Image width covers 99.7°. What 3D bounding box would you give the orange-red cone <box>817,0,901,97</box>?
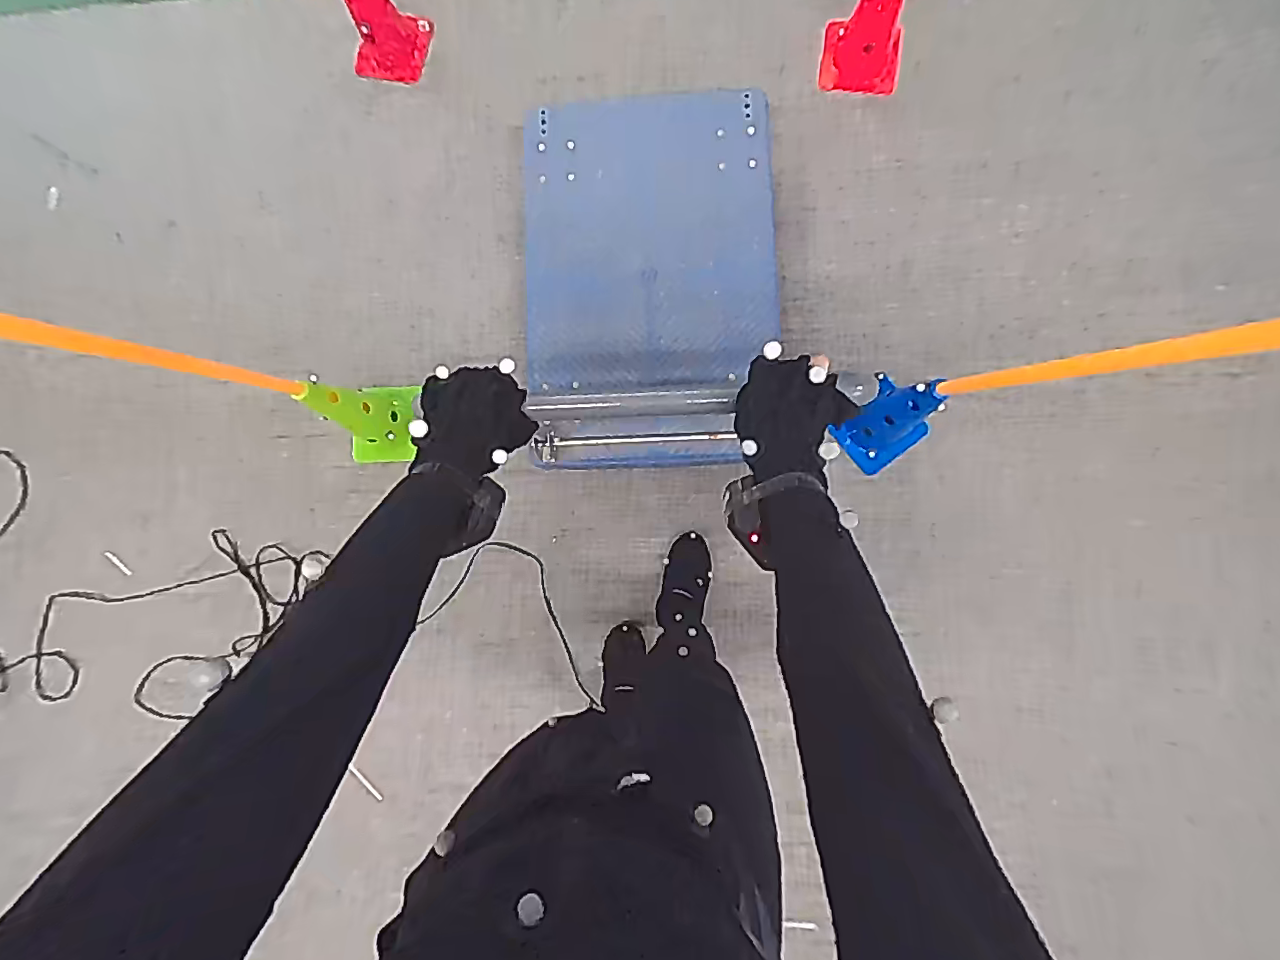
[{"bbox_3d":[0.566,-1.130,1.266,0.198,0.360,0.199,10,86,5],"label":"orange-red cone"}]
